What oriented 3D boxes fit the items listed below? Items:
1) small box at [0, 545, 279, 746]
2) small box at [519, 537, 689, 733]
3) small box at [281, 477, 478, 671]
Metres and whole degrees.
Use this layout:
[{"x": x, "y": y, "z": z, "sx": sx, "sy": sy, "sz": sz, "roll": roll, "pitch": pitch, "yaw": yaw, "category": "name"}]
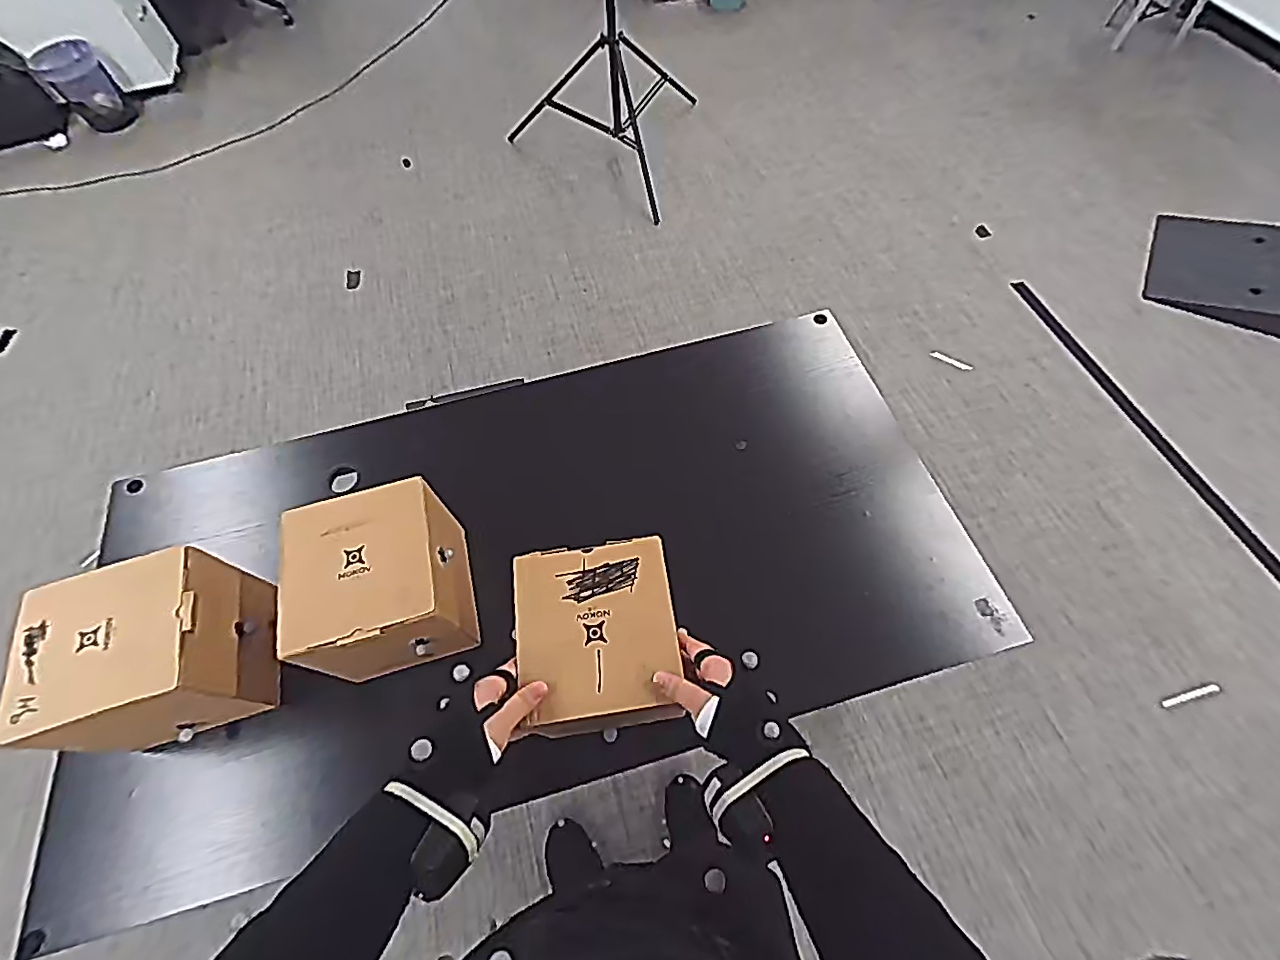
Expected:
[{"x": -0.561, "y": 0.201, "z": 0.640, "sx": 0.179, "sy": 0.176, "sz": 0.168, "roll": -16, "pitch": 62, "yaw": -8, "category": "small box"}, {"x": -0.042, "y": 0.185, "z": 0.629, "sx": 0.168, "sy": 0.176, "sz": 0.179, "roll": -8, "pitch": 63, "yaw": -2, "category": "small box"}, {"x": -0.312, "y": 0.127, "z": 0.673, "sx": 0.168, "sy": 0.176, "sz": 0.179, "roll": -15, "pitch": 62, "yaw": -7, "category": "small box"}]
